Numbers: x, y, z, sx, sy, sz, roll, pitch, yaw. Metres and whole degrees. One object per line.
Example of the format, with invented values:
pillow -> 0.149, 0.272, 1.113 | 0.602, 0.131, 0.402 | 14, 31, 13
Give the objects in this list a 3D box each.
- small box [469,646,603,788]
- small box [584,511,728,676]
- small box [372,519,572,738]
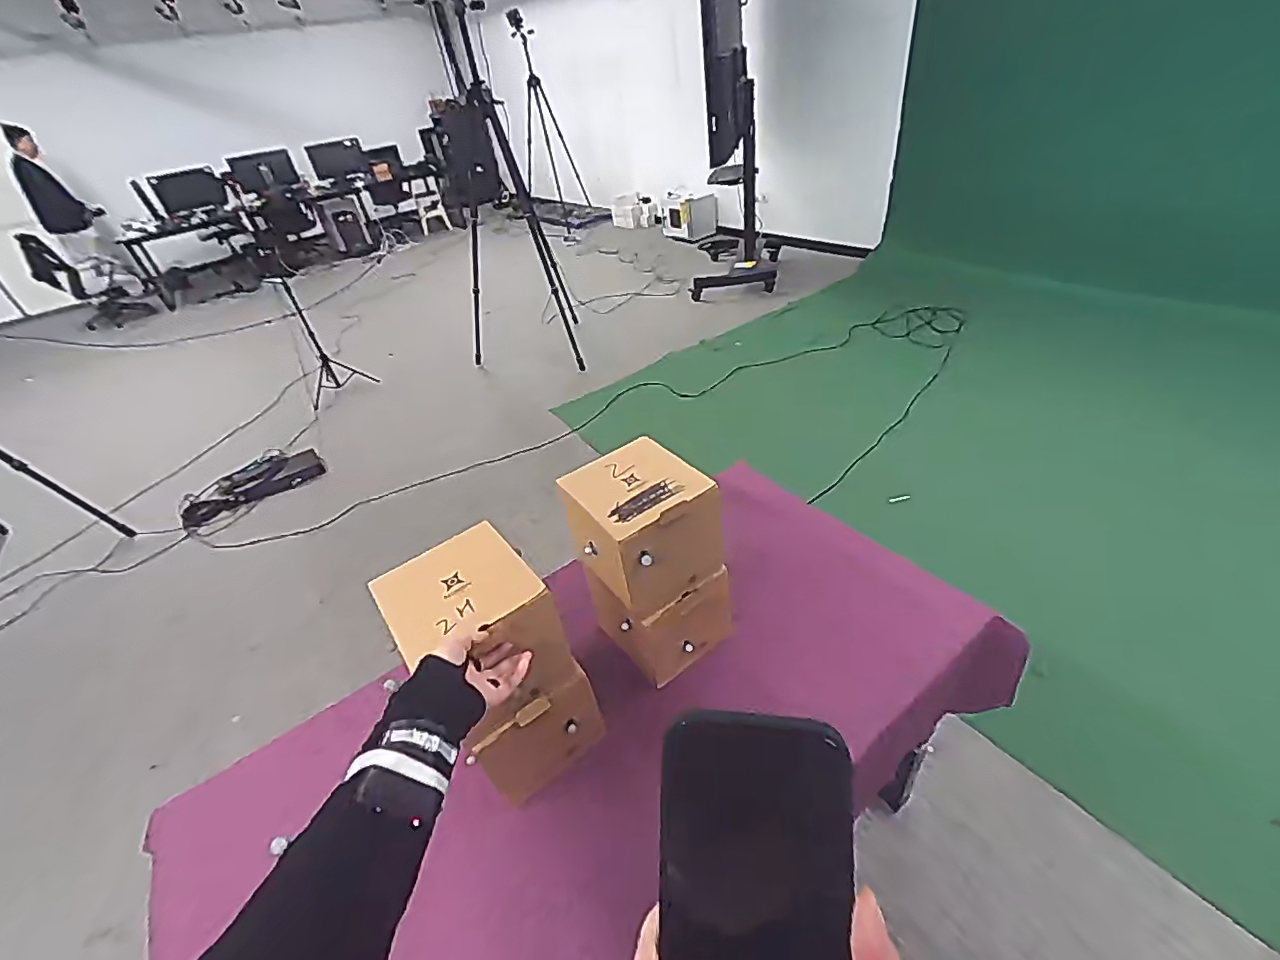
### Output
small box -> -0.174, 0.315, 0.795 | 0.168, 0.176, 0.179 | -30, 42, -24
small box -> 0.030, 0.189, 0.908 | 0.168, 0.176, 0.179 | -30, 43, -24
small box -> -0.211, 0.187, 0.697 | 0.168, 0.176, 0.179 | -31, 43, -25
